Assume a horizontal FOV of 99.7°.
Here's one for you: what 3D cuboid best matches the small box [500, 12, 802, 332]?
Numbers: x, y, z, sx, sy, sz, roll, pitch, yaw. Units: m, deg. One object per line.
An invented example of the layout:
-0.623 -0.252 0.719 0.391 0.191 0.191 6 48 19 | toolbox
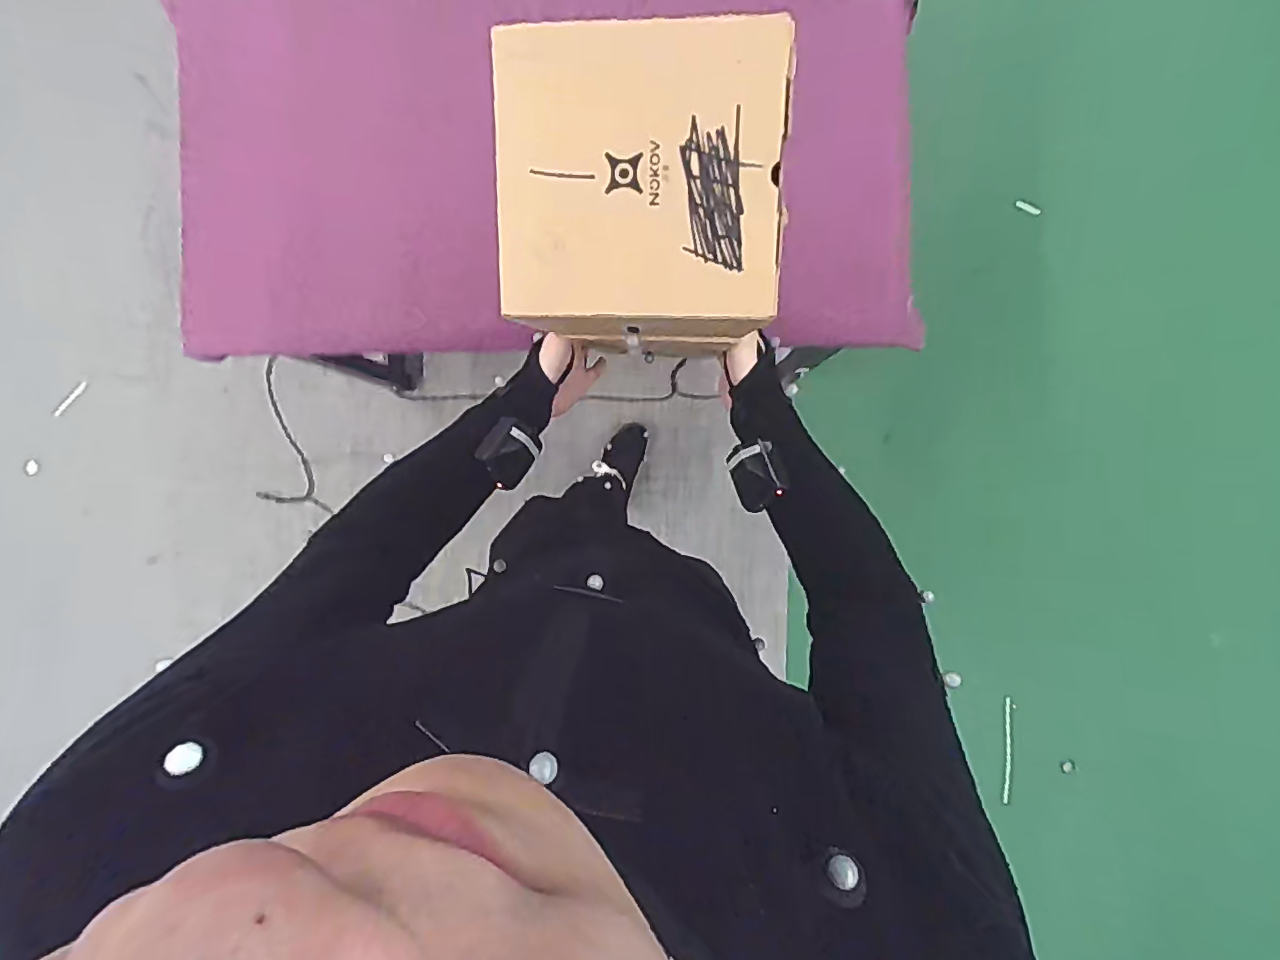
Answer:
0.008 -0.202 0.403 0.179 0.176 0.168 2 102 4 | small box
